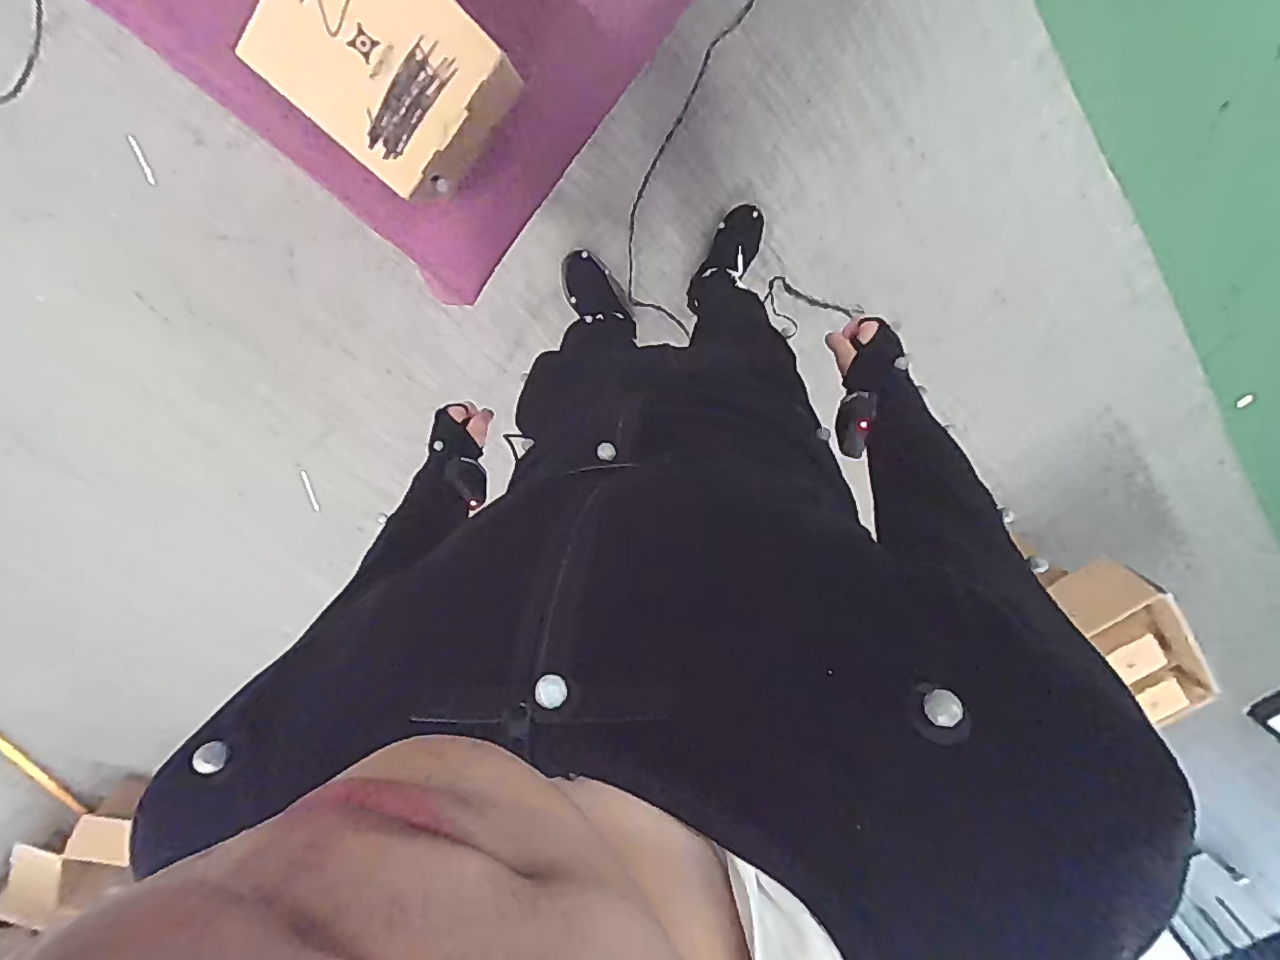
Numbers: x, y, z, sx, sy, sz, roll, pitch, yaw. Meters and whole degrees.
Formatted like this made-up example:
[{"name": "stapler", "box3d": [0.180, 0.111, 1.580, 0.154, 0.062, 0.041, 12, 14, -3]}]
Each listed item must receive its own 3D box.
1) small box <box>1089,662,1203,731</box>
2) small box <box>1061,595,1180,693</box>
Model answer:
[{"name": "small box", "box3d": [1.534, 0.619, 1.648, 0.168, 0.176, 0.179, -41, 113, 17]}, {"name": "small box", "box3d": [1.363, 0.463, 1.541, 0.168, 0.176, 0.179, -40, 115, 16]}]
